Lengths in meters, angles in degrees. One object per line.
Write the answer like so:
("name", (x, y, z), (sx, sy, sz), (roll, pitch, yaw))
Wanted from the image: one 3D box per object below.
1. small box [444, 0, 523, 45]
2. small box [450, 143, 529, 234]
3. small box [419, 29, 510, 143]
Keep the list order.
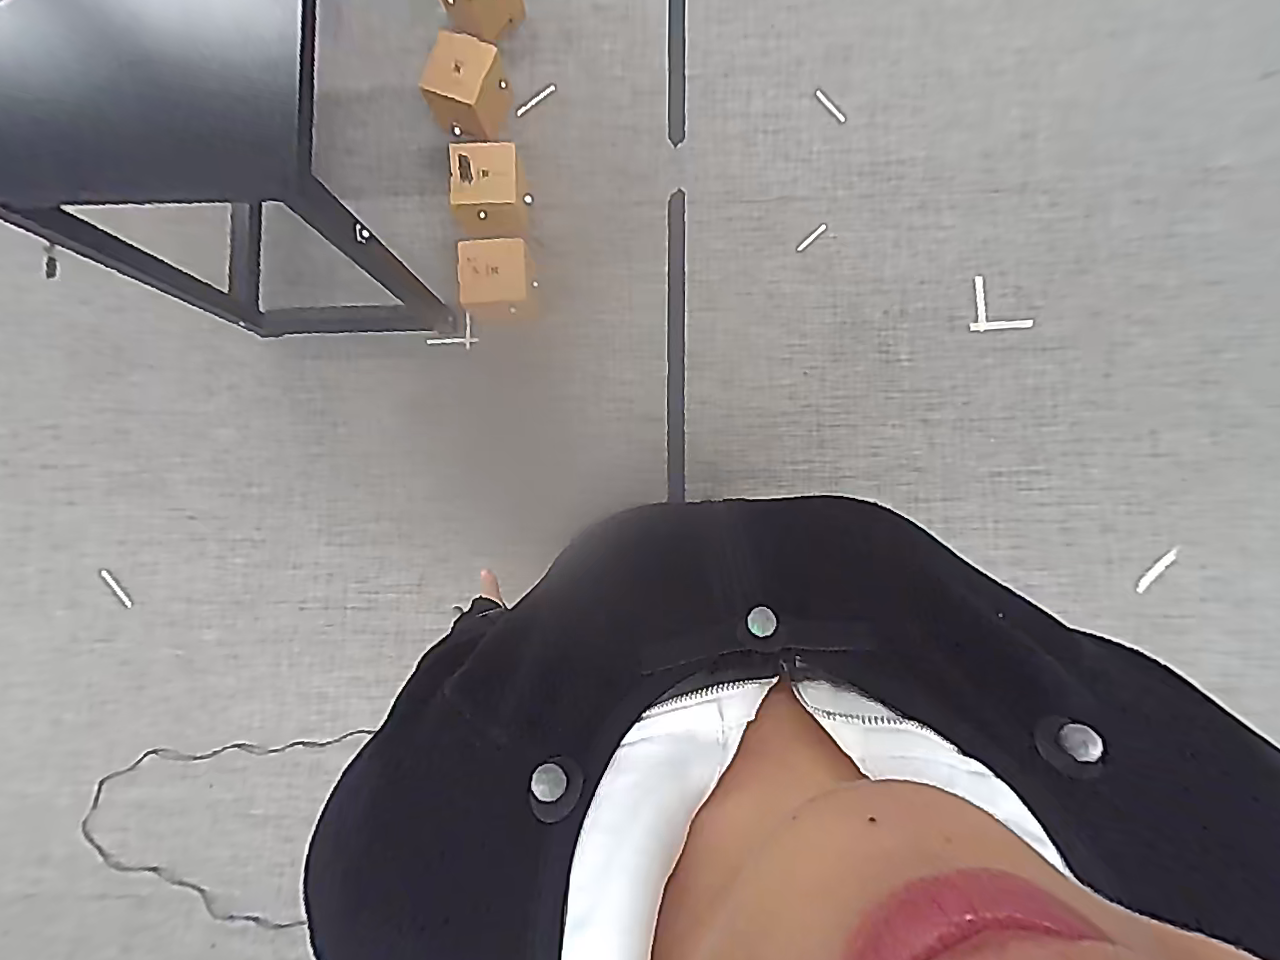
("small box", (-0.459, -1.394, 1.525), (0.179, 0.176, 0.168), (43, 89, 3))
("small box", (-0.411, -0.799, 1.496), (0.179, 0.176, 0.168), (-1, 87, 0))
("small box", (-0.480, -1.092, 1.514), (0.168, 0.176, 0.179), (20, 89, 3))
